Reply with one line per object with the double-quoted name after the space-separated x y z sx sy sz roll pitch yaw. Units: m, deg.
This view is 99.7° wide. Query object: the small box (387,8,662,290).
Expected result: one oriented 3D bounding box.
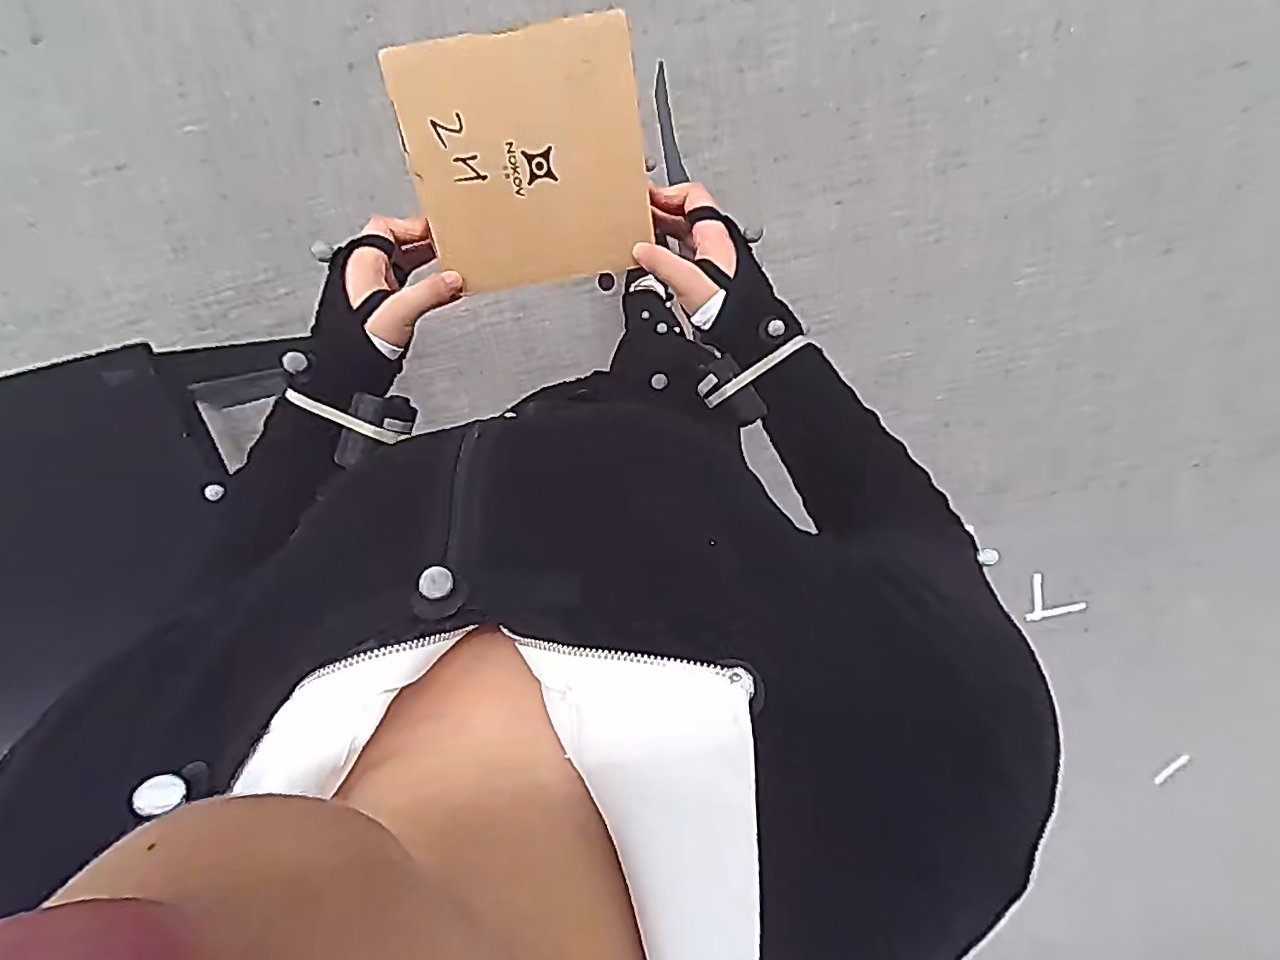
-0.082 -0.272 0.472 0.179 0.176 0.168 -8 116 1 "small box"
